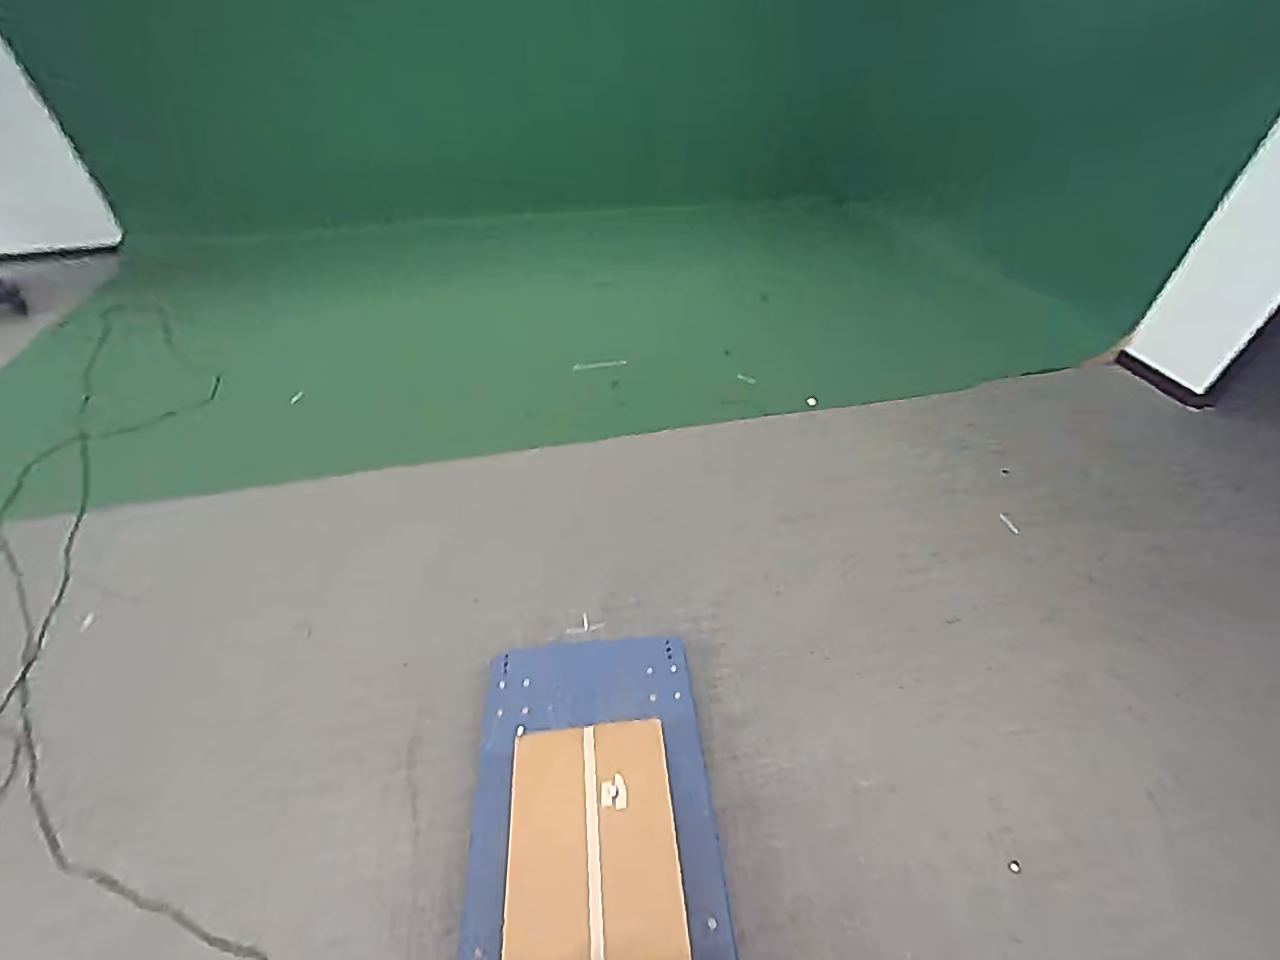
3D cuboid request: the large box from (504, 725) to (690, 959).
[{"bbox_3d":[-0.088,0.790,1.121,0.320,0.320,0.408,-4,43,-4],"label":"large box"}]
